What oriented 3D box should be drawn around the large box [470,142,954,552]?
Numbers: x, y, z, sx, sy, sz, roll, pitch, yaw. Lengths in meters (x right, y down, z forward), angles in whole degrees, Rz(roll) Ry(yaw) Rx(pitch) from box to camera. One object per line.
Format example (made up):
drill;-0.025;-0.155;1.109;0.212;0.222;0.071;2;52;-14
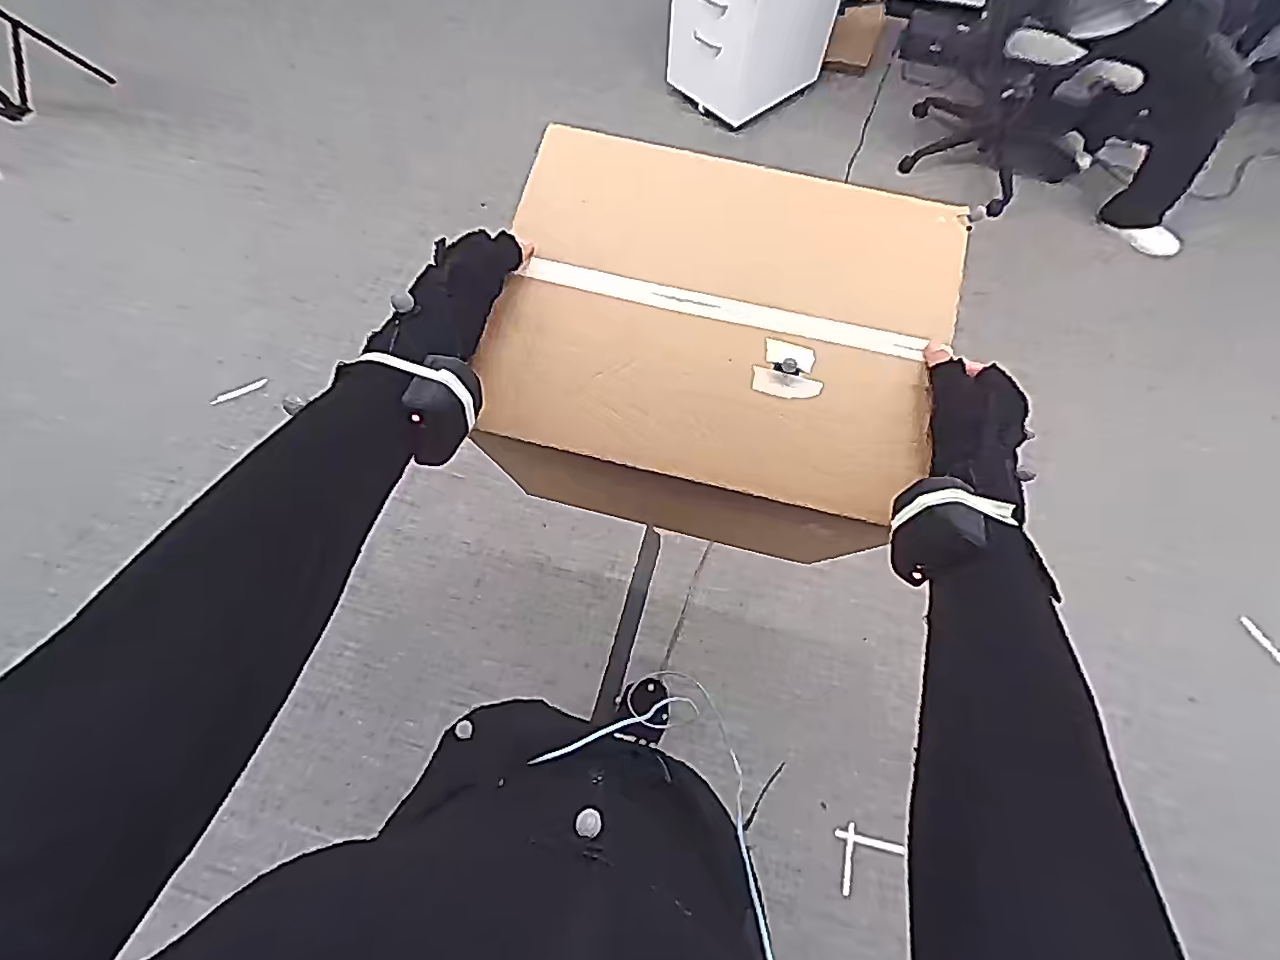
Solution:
large box;0.073;-0.118;0.640;0.408;0.320;0.320;14;79;3
